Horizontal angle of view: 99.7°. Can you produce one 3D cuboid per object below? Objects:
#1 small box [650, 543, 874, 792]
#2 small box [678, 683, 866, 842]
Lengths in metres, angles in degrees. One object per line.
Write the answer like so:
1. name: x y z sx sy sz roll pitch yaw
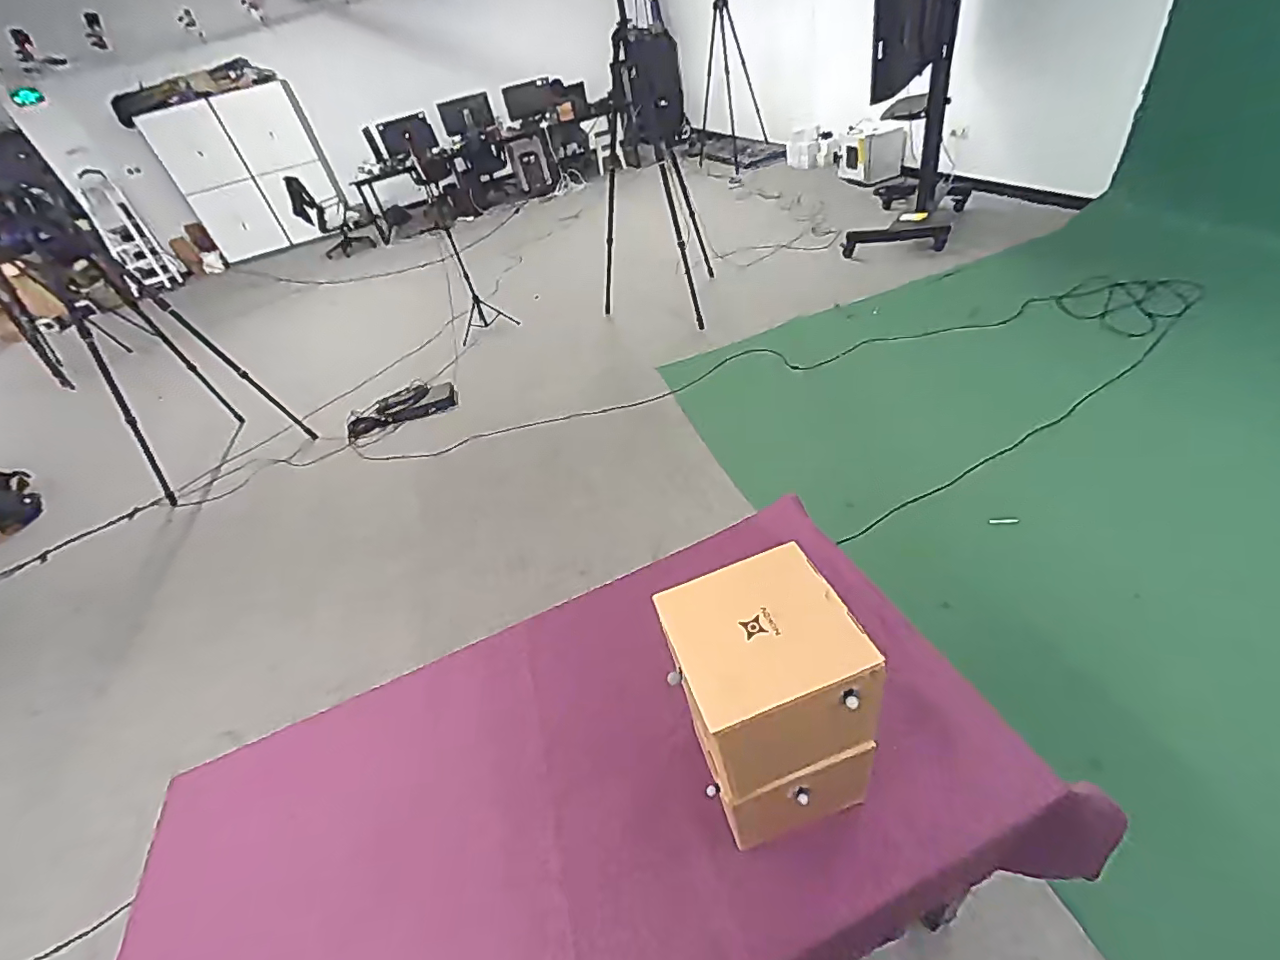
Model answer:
1. small box: 0.130 0.206 0.594 0.179 0.176 0.168 -20 40 -6
2. small box: 0.165 0.329 0.694 0.179 0.176 0.168 -19 40 -4
